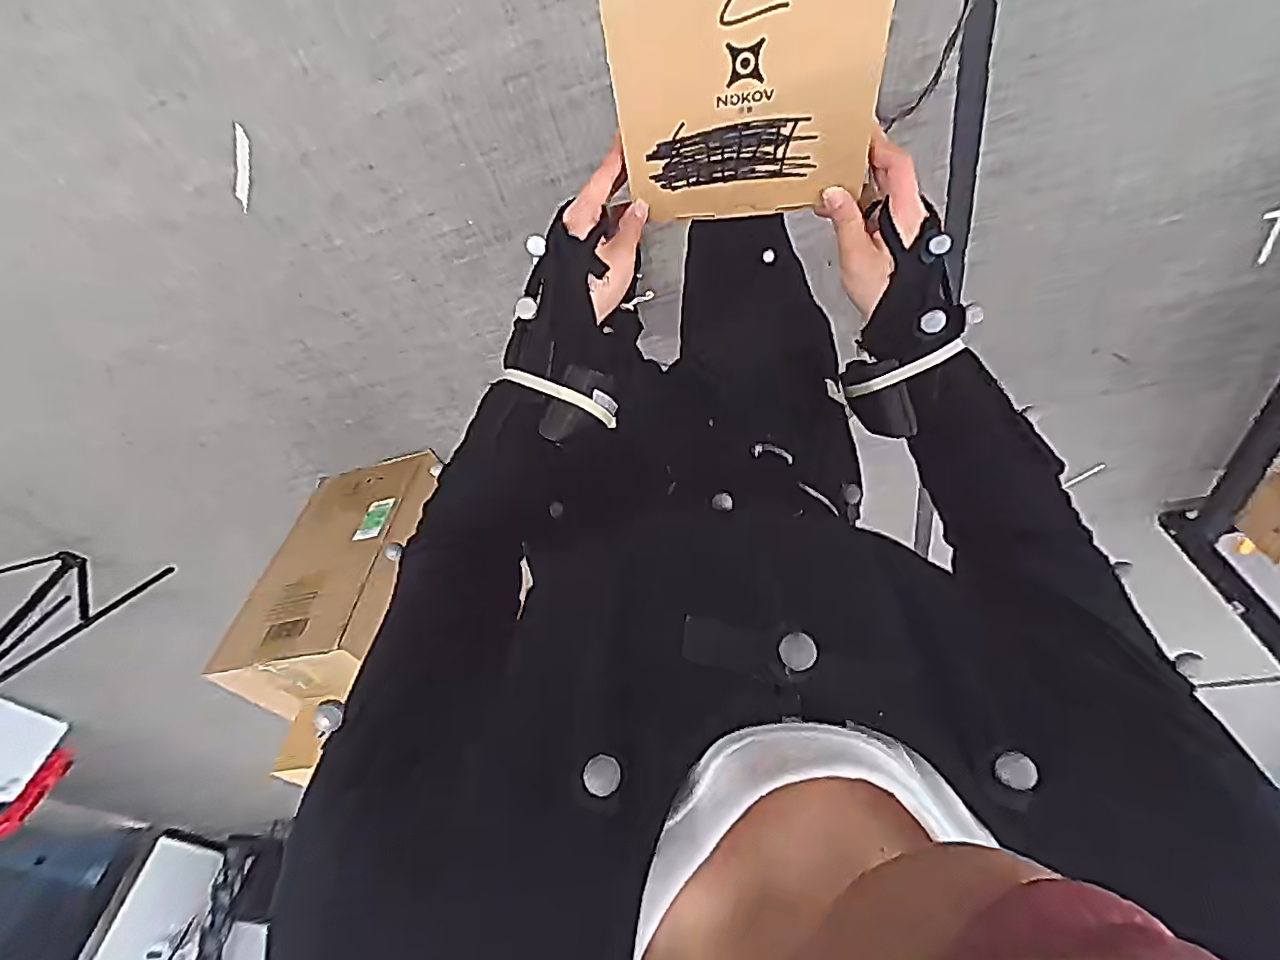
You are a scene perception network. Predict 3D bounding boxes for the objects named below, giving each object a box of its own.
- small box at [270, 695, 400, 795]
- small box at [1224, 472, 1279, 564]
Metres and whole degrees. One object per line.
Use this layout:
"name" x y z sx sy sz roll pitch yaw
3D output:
"small box" -0.702 0.615 1.266 0.168 0.176 0.179 -13 134 14
"small box" 1.676 0.087 1.387 0.168 0.176 0.179 -12 133 15
